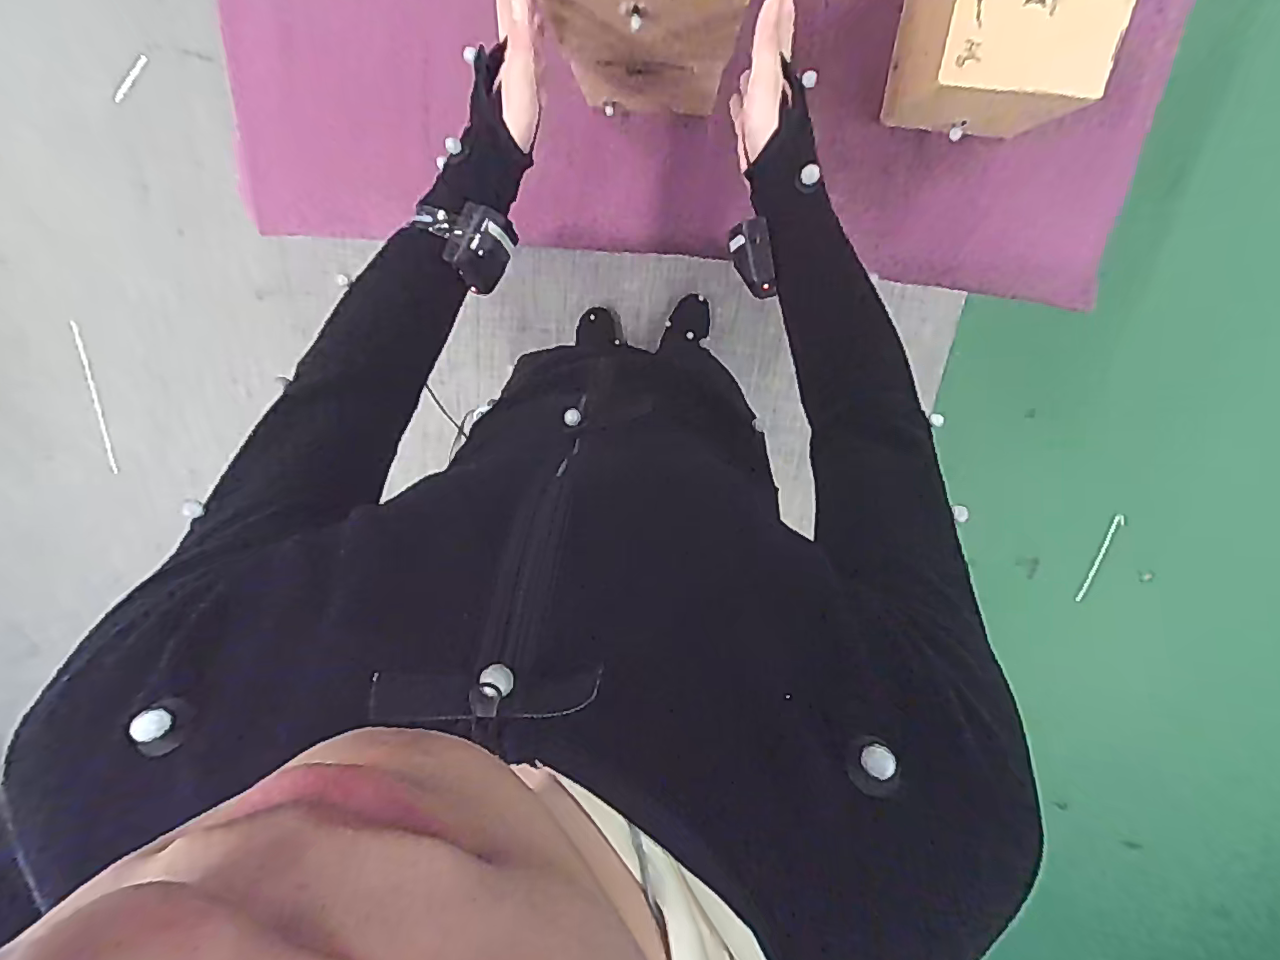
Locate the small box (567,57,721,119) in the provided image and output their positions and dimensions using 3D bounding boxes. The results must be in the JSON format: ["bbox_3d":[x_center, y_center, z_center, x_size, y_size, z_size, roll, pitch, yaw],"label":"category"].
[{"bbox_3d":[0.014,-0.535,0.615,0.168,0.176,0.179,4,109,0],"label":"small box"}]

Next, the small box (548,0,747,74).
[{"bbox_3d":[0.009,-0.476,0.463,0.179,0.176,0.168,4,111,0],"label":"small box"}]

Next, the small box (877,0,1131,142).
[{"bbox_3d":[0.403,-0.501,0.615,0.179,0.176,0.168,5,110,0],"label":"small box"}]
